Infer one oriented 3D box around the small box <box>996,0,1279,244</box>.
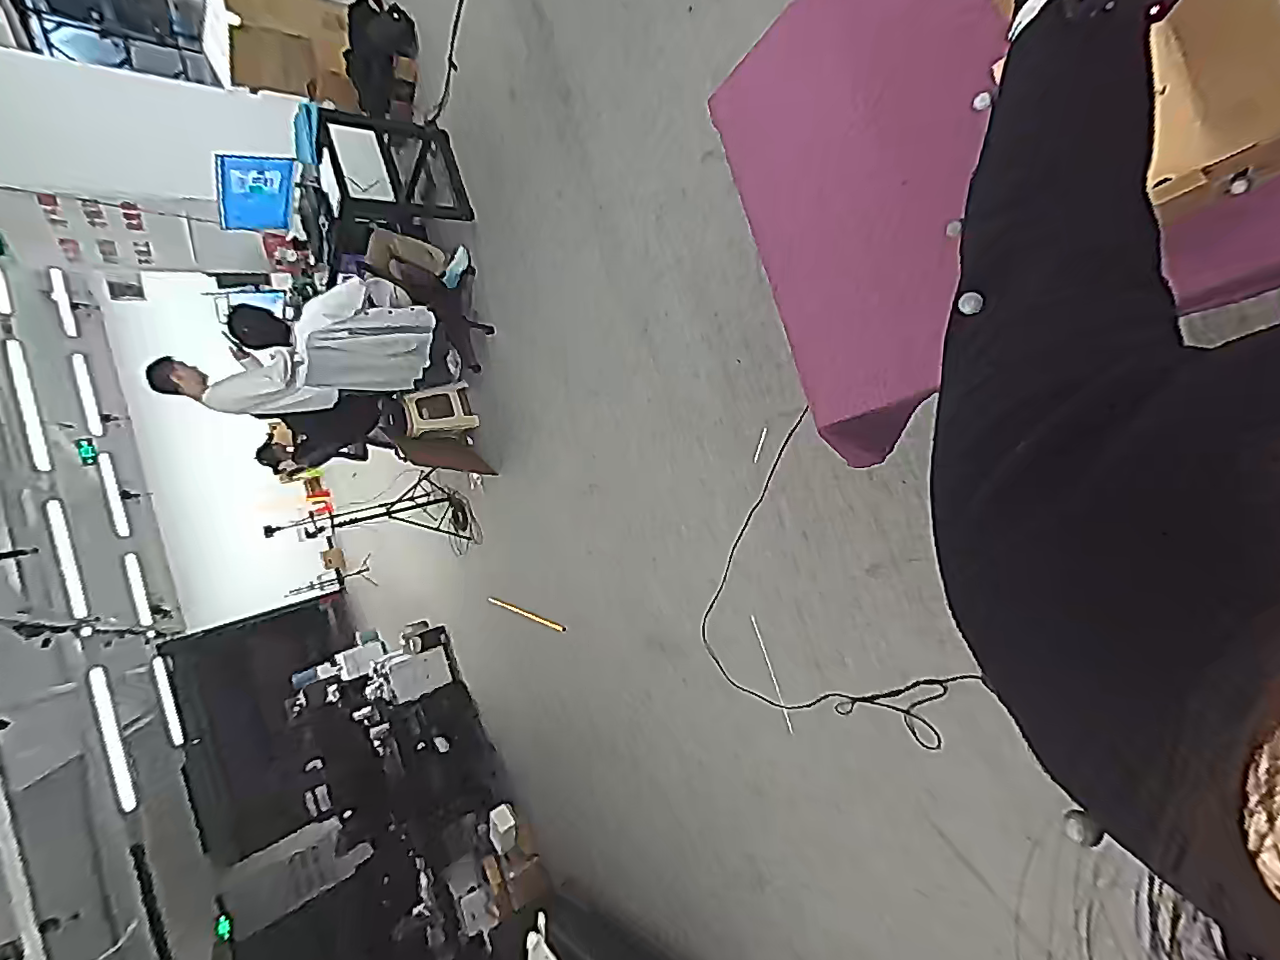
[{"bbox_3d":[0.465,-0.335,0.491,0.168,0.176,0.179,-16,88,53],"label":"small box"}]
